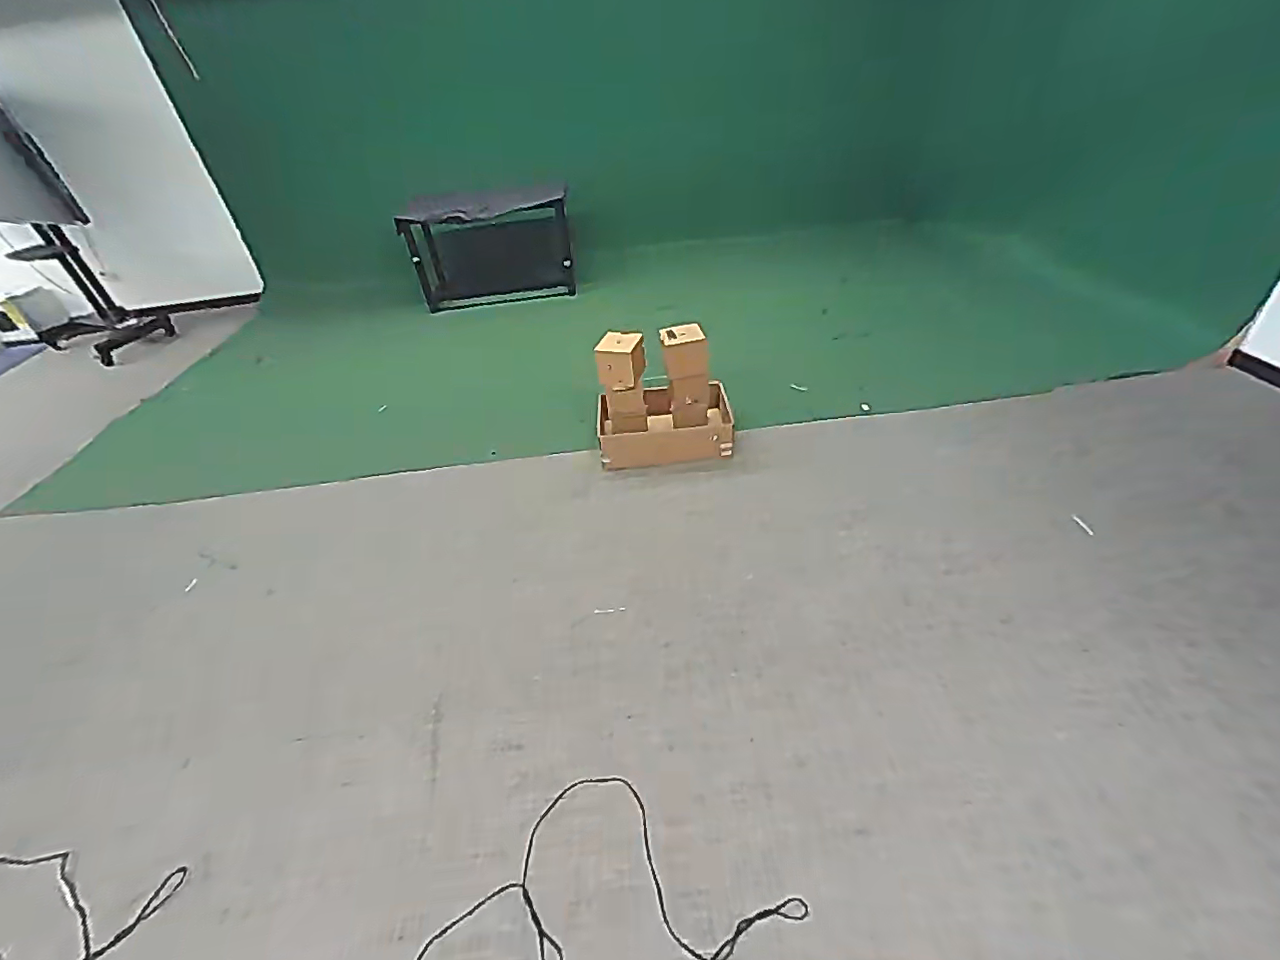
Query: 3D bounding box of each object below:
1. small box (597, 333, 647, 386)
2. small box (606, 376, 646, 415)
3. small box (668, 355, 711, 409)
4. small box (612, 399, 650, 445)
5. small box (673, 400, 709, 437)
[{"bbox_3d":[-0.073,-0.528,2.365,0.168,0.176,0.179,9,40,17],"label":"small box"},{"bbox_3d":[-0.064,-0.406,2.473,0.168,0.176,0.179,-5,38,0],"label":"small box"},{"bbox_3d":[0.227,-0.450,2.494,0.168,0.176,0.179,-11,41,-2],"label":"small box"},{"bbox_3d":[-0.046,-0.287,2.584,0.168,0.176,0.179,-7,39,-1],"label":"small box"},{"bbox_3d":[0.244,-0.326,2.599,0.168,0.176,0.179,-4,39,5],"label":"small box"}]
